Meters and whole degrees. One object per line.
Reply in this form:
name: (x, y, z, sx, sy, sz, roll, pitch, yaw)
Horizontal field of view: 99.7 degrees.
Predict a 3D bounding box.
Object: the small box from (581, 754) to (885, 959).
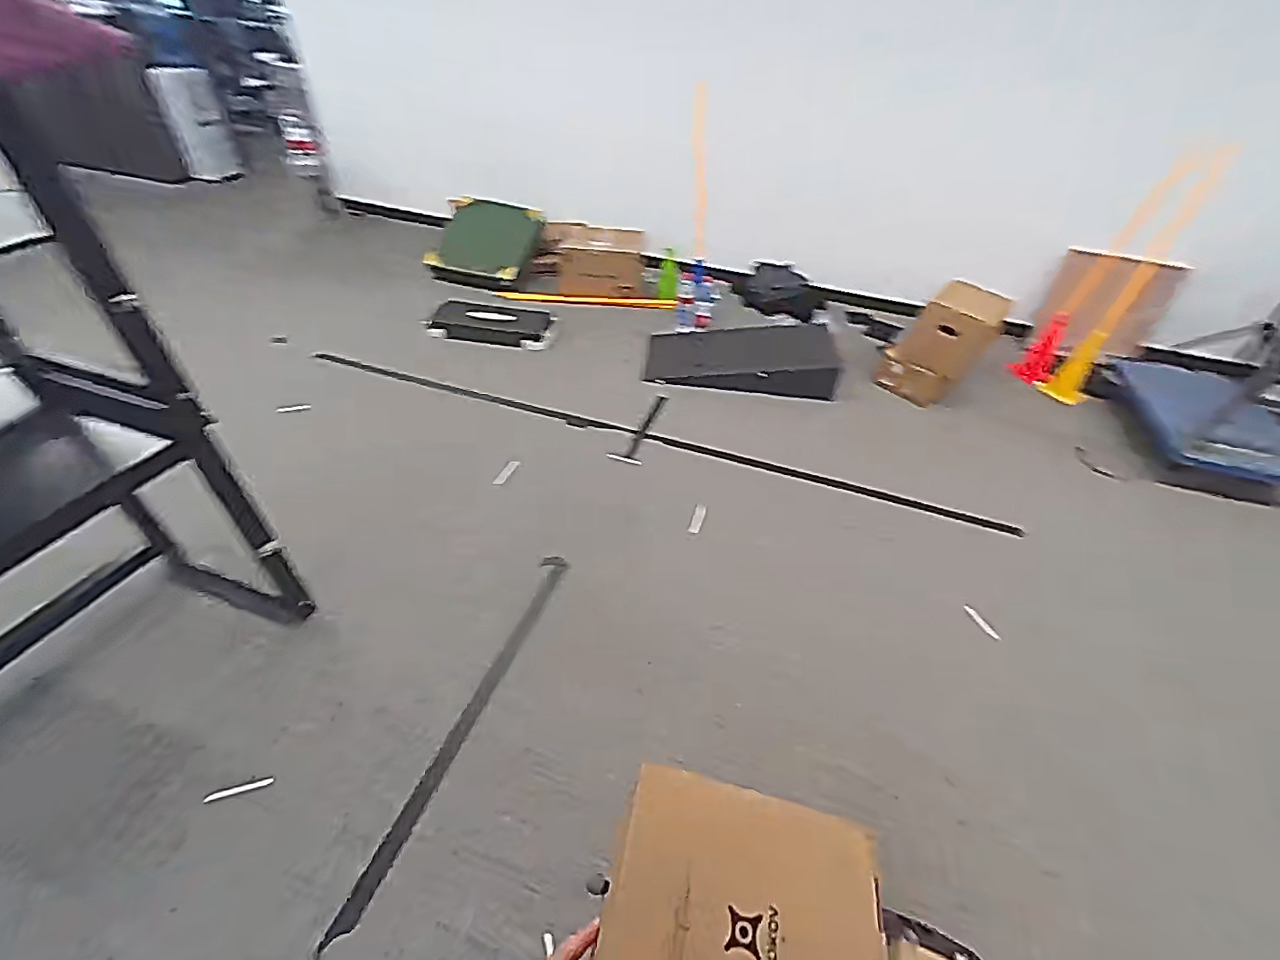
small box: (0.056, 0.330, 0.391, 0.179, 0.176, 0.168, 14, 45, 3)
